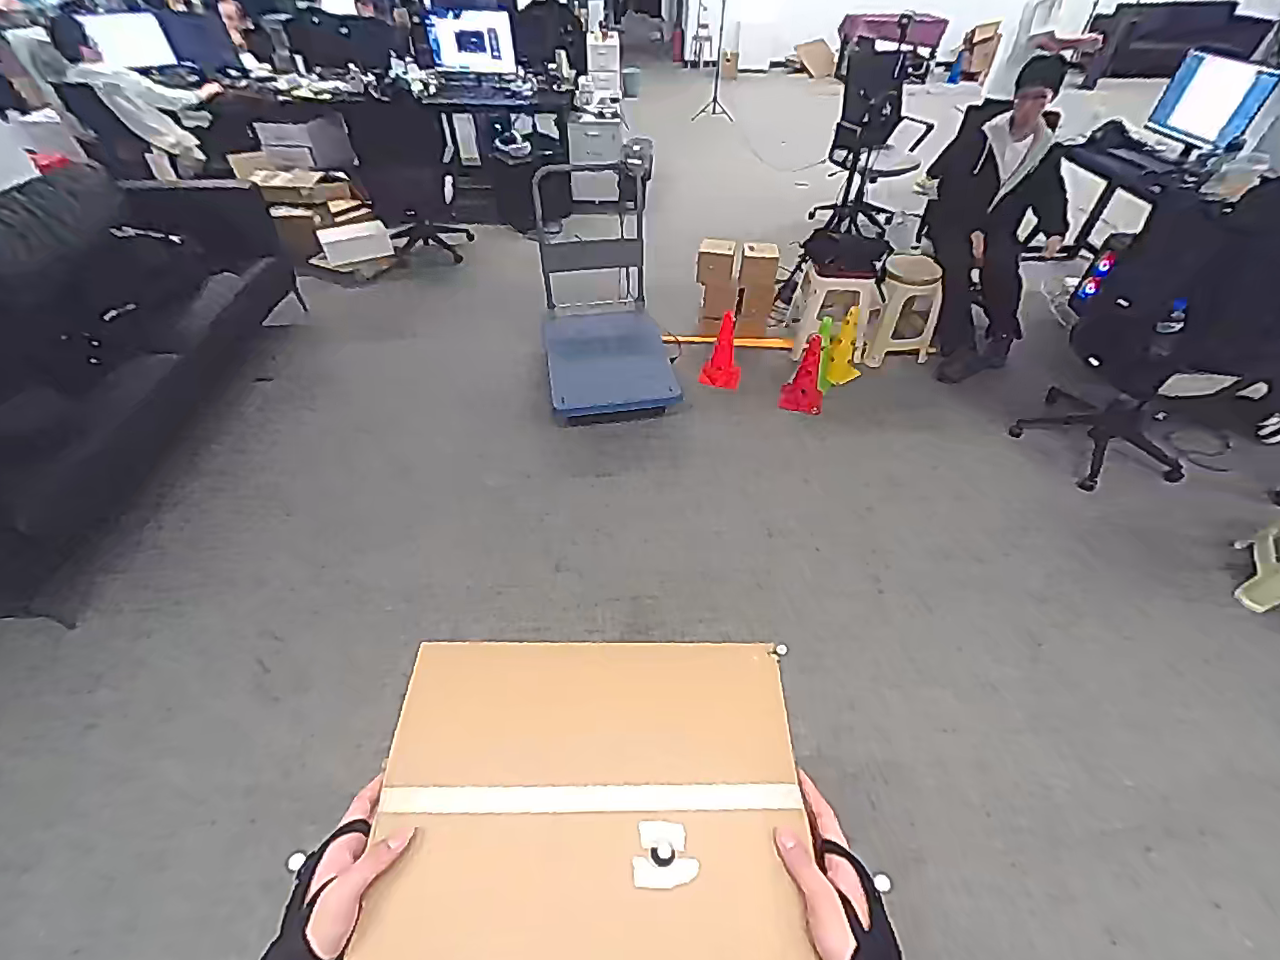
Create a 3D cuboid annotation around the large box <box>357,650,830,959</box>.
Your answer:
[{"bbox_3d":[-0.047,0.414,0.640,0.408,0.320,0.320,1,49,-2],"label":"large box"}]
